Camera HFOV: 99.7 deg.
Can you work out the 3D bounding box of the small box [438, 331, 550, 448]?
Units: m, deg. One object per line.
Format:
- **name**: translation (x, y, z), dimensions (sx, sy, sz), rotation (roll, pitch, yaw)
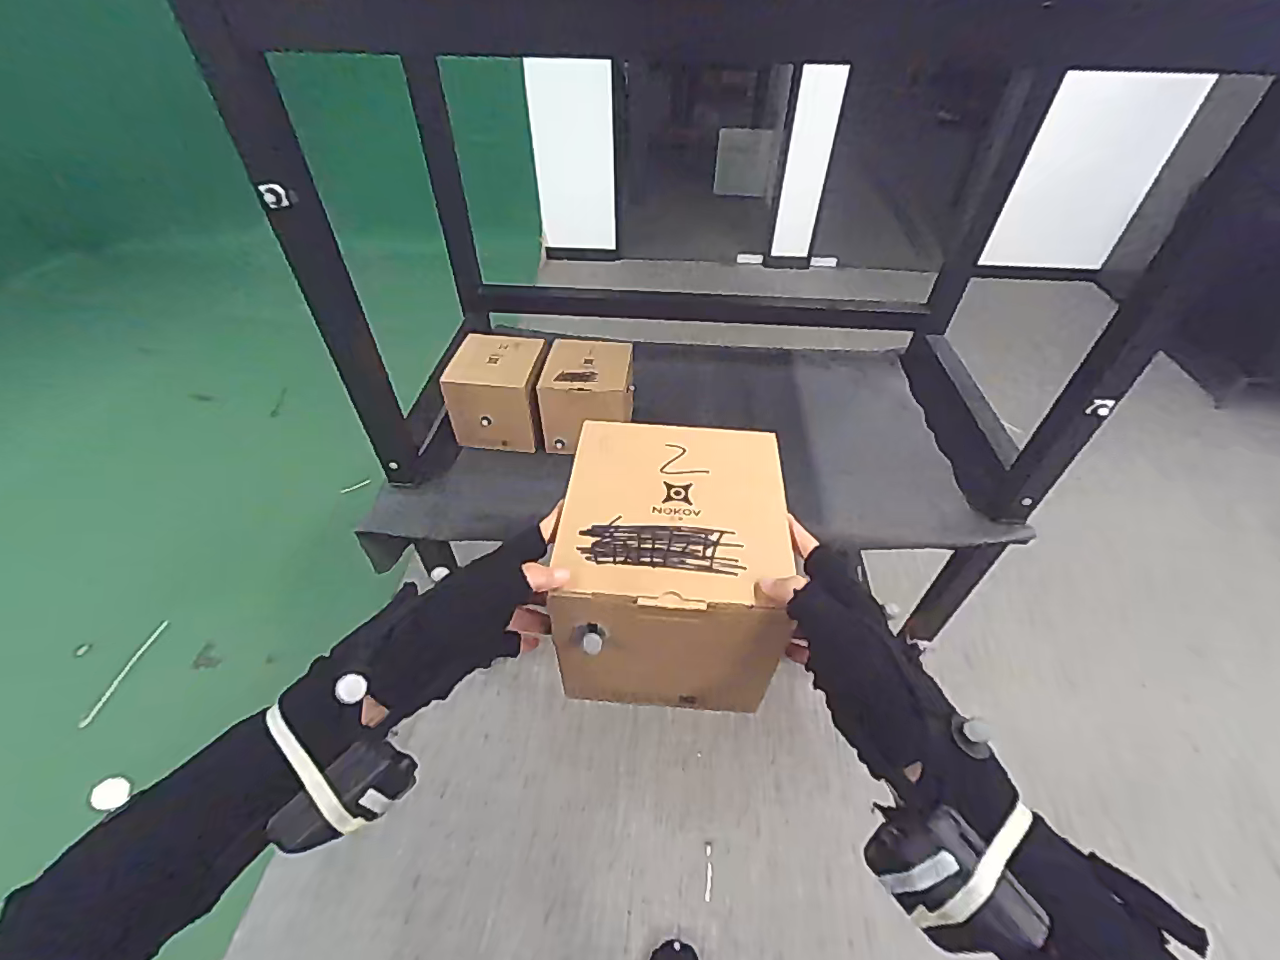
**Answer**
- **small box**: translation (-0.288, -0.184, 1.115), dimensions (0.168, 0.176, 0.179), rotation (6, 45, 4)
